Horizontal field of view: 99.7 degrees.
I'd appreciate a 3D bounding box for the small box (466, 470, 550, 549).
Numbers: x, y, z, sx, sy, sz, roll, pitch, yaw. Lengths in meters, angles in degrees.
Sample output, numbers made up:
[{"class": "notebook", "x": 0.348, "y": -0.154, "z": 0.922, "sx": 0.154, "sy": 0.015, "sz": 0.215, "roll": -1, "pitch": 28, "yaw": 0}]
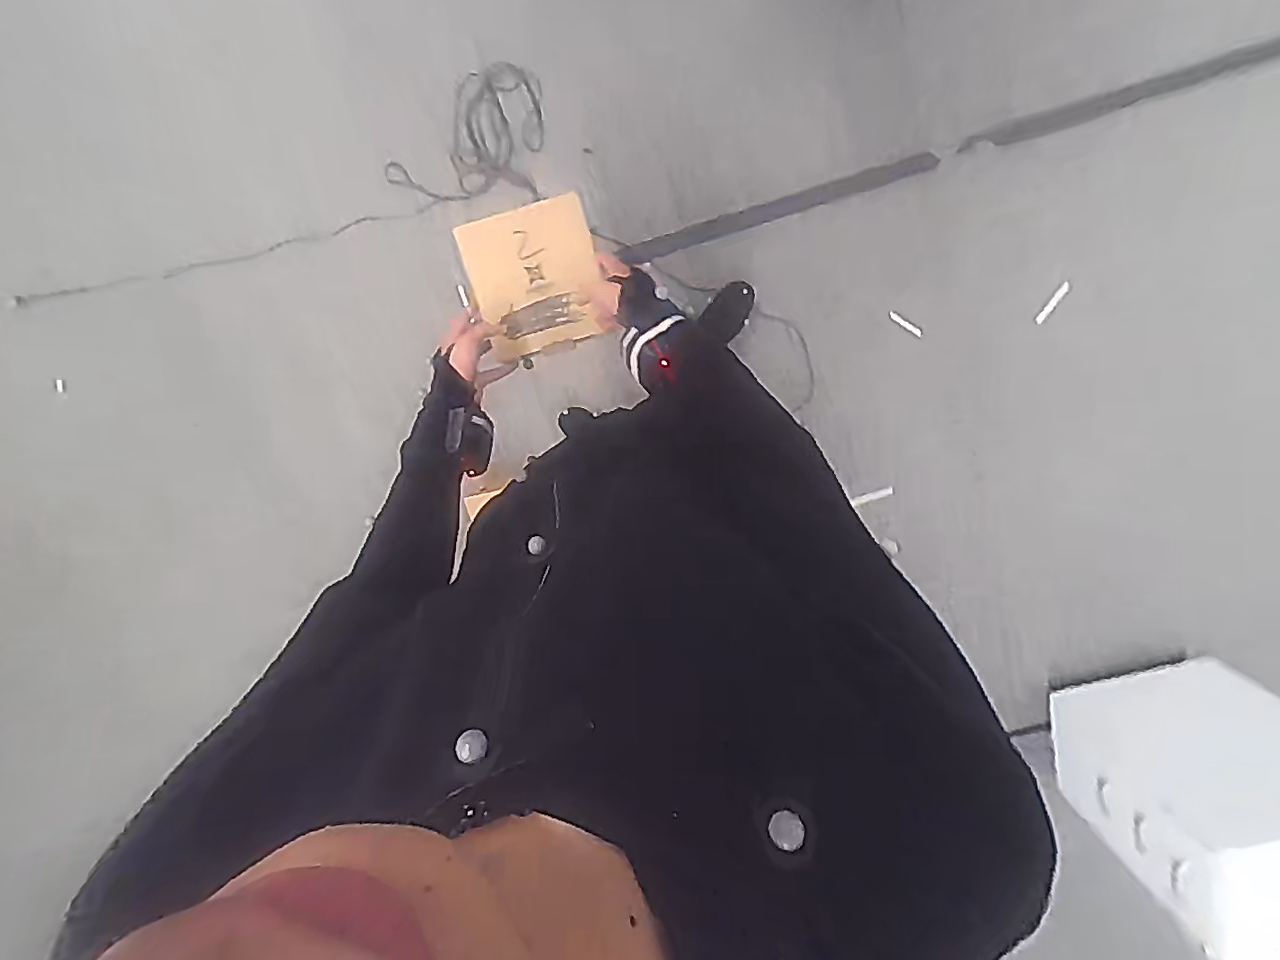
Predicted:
[{"class": "small box", "x": -0.377, "y": 0.082, "z": 1.575, "sx": 0.179, "sy": 0.176, "sz": 0.168, "roll": -12, "pitch": 106, "yaw": 4}]
